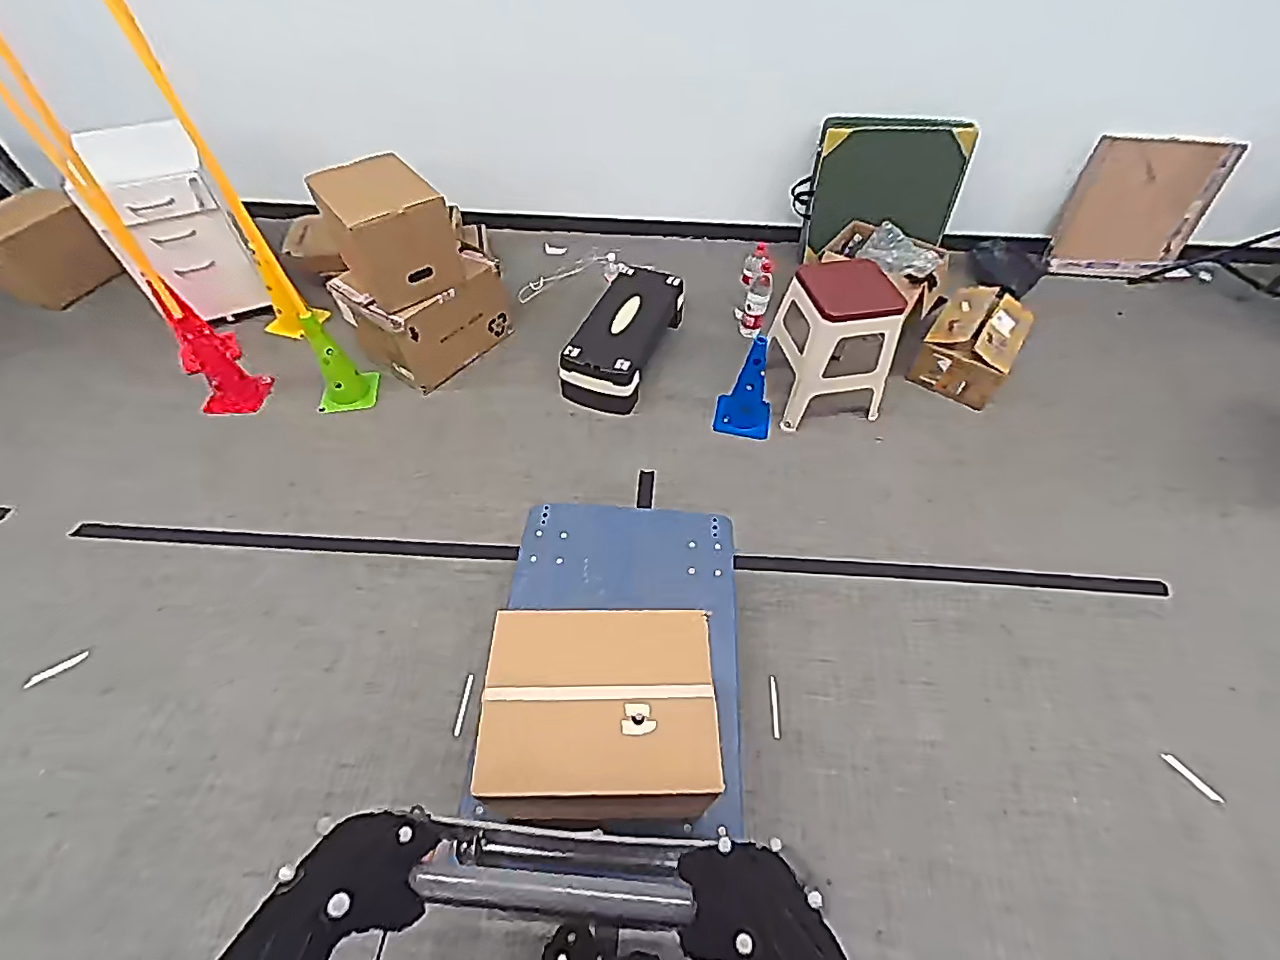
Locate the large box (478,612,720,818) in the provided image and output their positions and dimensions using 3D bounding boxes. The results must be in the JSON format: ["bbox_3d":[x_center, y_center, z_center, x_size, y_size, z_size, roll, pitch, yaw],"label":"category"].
[{"bbox_3d":[-0.078,0.474,1.085,0.408,0.320,0.320,1,52,-3],"label":"large box"}]
